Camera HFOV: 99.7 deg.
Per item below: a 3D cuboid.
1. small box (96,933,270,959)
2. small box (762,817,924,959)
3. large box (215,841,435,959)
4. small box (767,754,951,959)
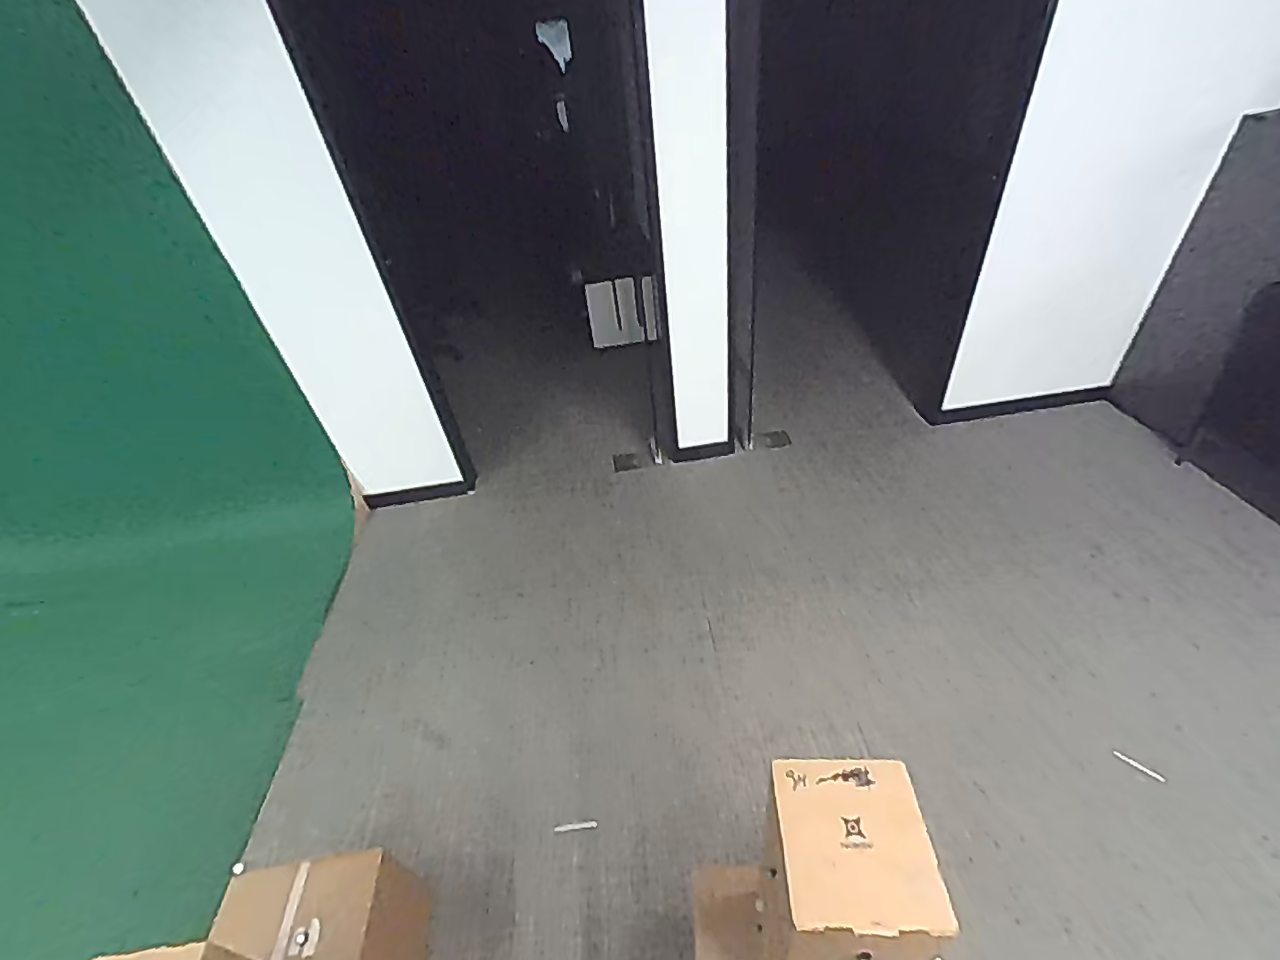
[{"bbox_3d":[-0.649,0.753,0.734,0.168,0.176,0.179,-7,39,0],"label":"small box"},{"bbox_3d":[0.271,0.597,0.767,0.179,0.176,0.168,-2,37,8],"label":"small box"},{"bbox_3d":[-0.634,1.014,1.061,0.320,0.320,0.408,-9,38,-1],"label":"large box"},{"bbox_3d":[0.251,0.467,0.670,0.168,0.176,0.179,-2,38,6],"label":"small box"}]
